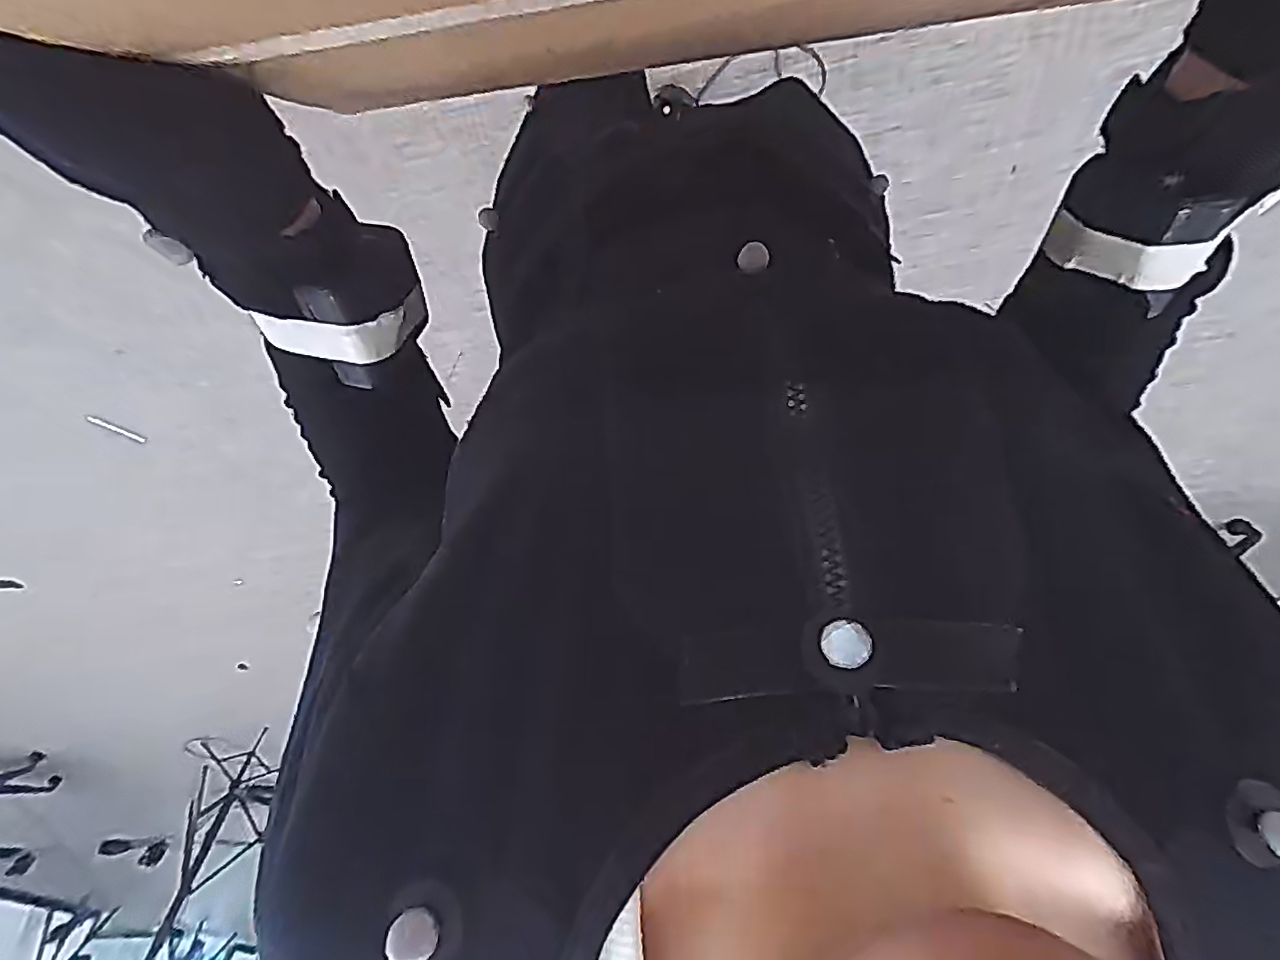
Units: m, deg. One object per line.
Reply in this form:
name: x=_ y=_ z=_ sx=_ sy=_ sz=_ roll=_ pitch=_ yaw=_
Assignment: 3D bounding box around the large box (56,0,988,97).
large box: x=0.018 y=-0.295 z=0.085 sx=0.408 sy=0.320 sz=0.320 roll=-6 pitch=119 yaw=4
